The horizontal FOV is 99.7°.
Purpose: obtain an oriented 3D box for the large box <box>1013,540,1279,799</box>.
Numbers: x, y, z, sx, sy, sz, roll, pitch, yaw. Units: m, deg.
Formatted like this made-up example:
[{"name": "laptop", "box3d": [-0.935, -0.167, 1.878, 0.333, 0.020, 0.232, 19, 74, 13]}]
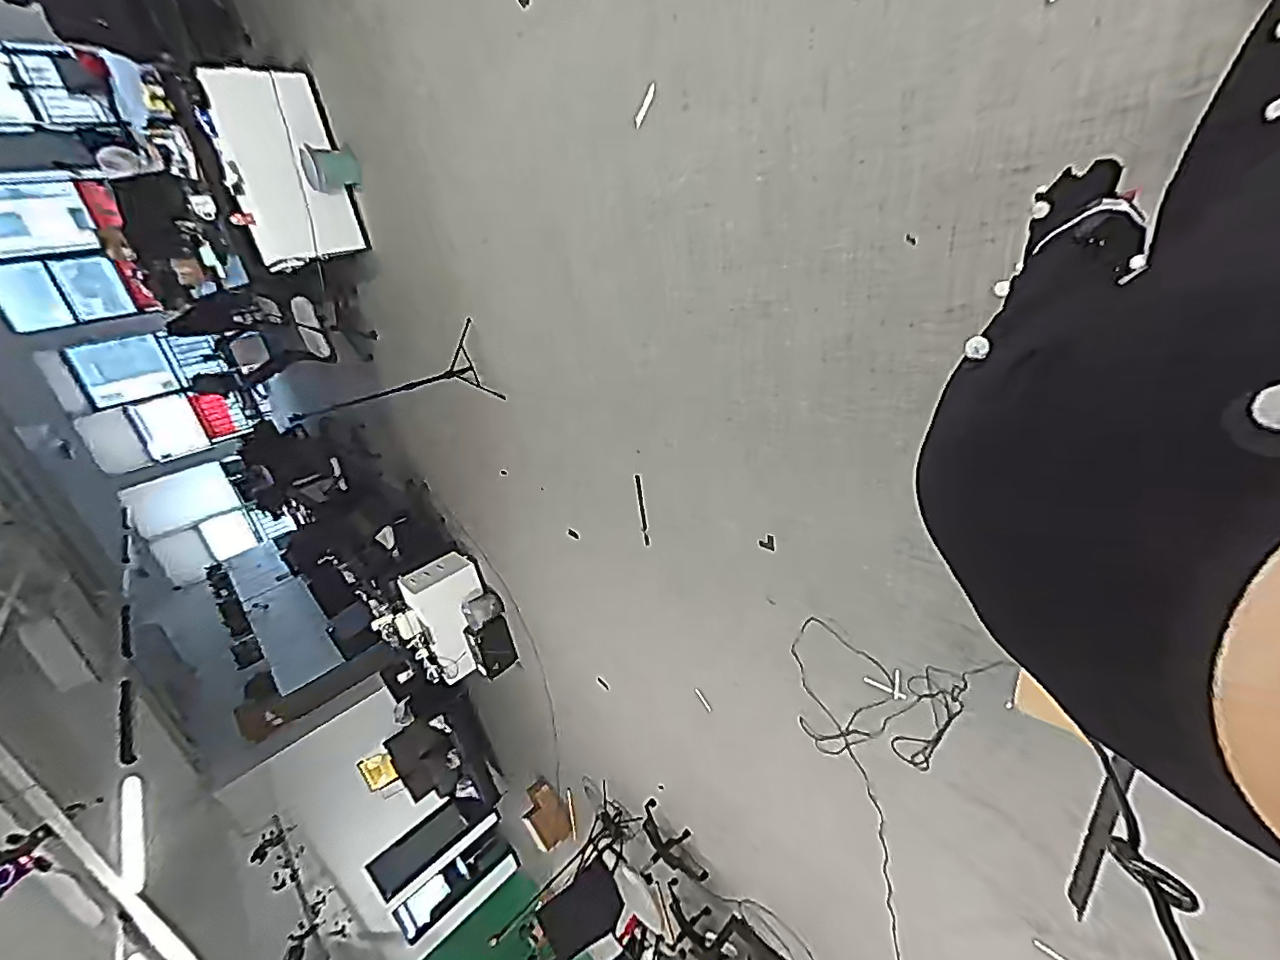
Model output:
[{"name": "large box", "box3d": [1.119, 0.380, 1.192, 0.408, 0.320, 0.320, 17, 126, 45]}]
